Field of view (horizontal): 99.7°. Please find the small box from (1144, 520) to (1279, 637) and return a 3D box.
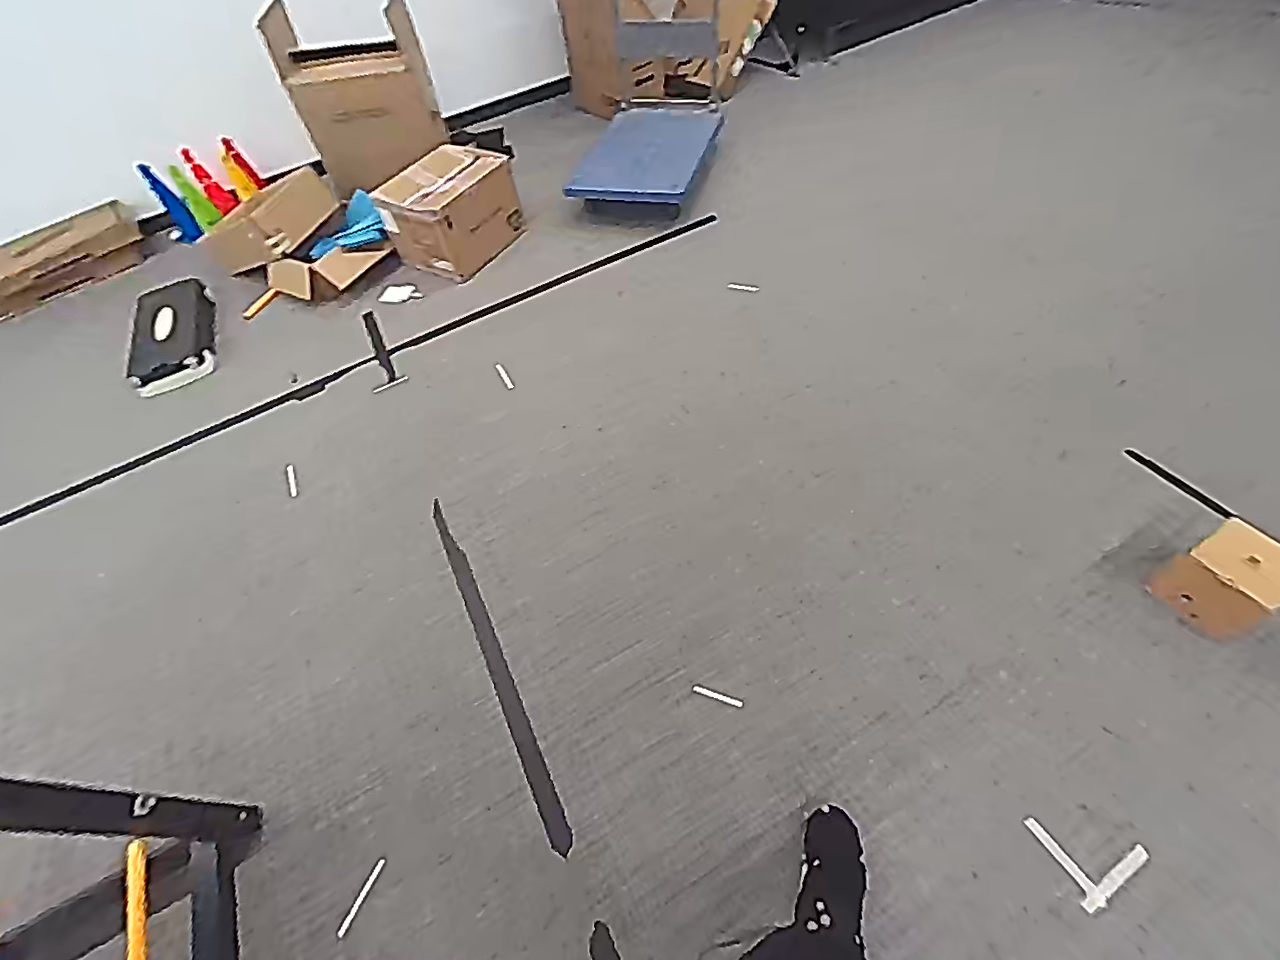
[{"bbox_3d":[1.334,0.230,1.245,0.179,0.176,0.168,-31,57,-13],"label":"small box"}]
